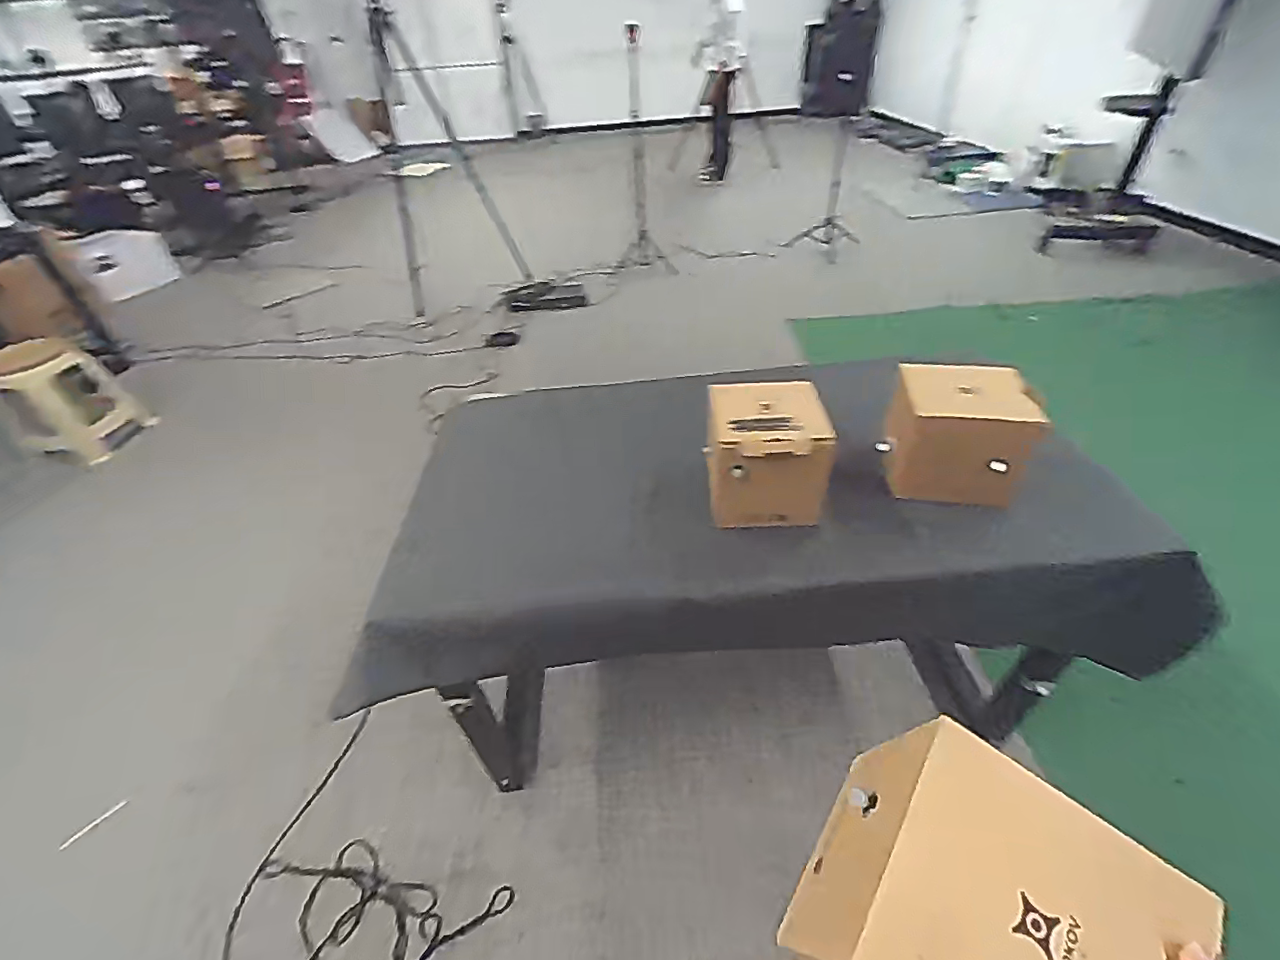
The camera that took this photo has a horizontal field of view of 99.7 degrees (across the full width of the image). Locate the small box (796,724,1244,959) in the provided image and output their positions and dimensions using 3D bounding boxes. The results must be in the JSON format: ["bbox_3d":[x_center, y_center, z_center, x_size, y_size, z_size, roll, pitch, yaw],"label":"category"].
[{"bbox_3d":[0.234,0.309,0.371,0.179,0.176,0.168,33,59,19],"label":"small box"}]

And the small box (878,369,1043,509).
[{"bbox_3d":[0.515,-0.068,0.900,0.179,0.176,0.168,4,40,11],"label":"small box"}]
